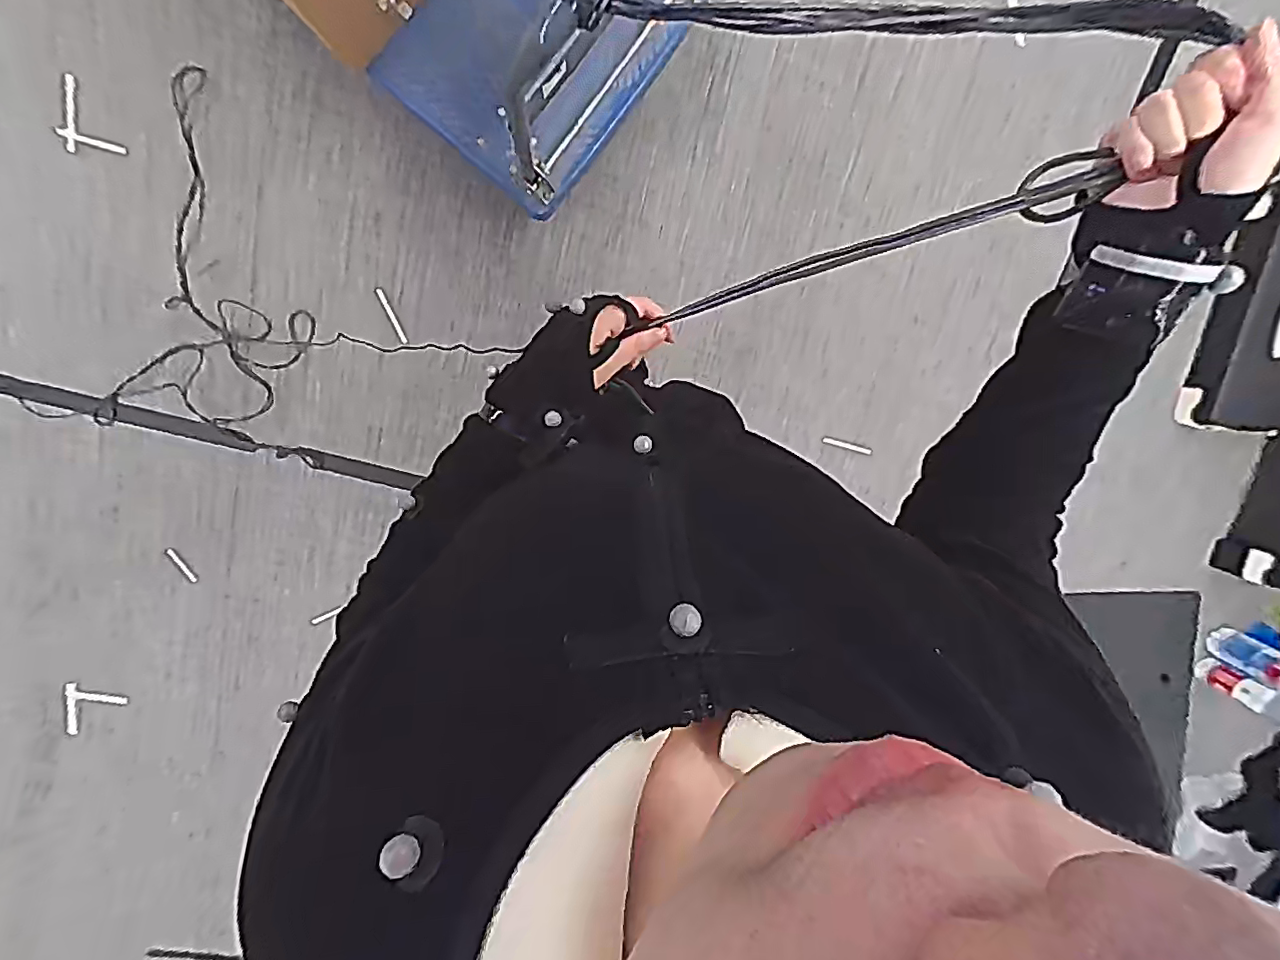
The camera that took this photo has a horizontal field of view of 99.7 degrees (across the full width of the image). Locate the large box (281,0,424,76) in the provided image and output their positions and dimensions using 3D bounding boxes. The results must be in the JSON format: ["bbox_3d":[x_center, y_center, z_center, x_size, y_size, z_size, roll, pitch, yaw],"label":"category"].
[{"bbox_3d":[-0.562,-0.973,0.842,0.320,0.320,0.408,-45,105,6],"label":"large box"}]
